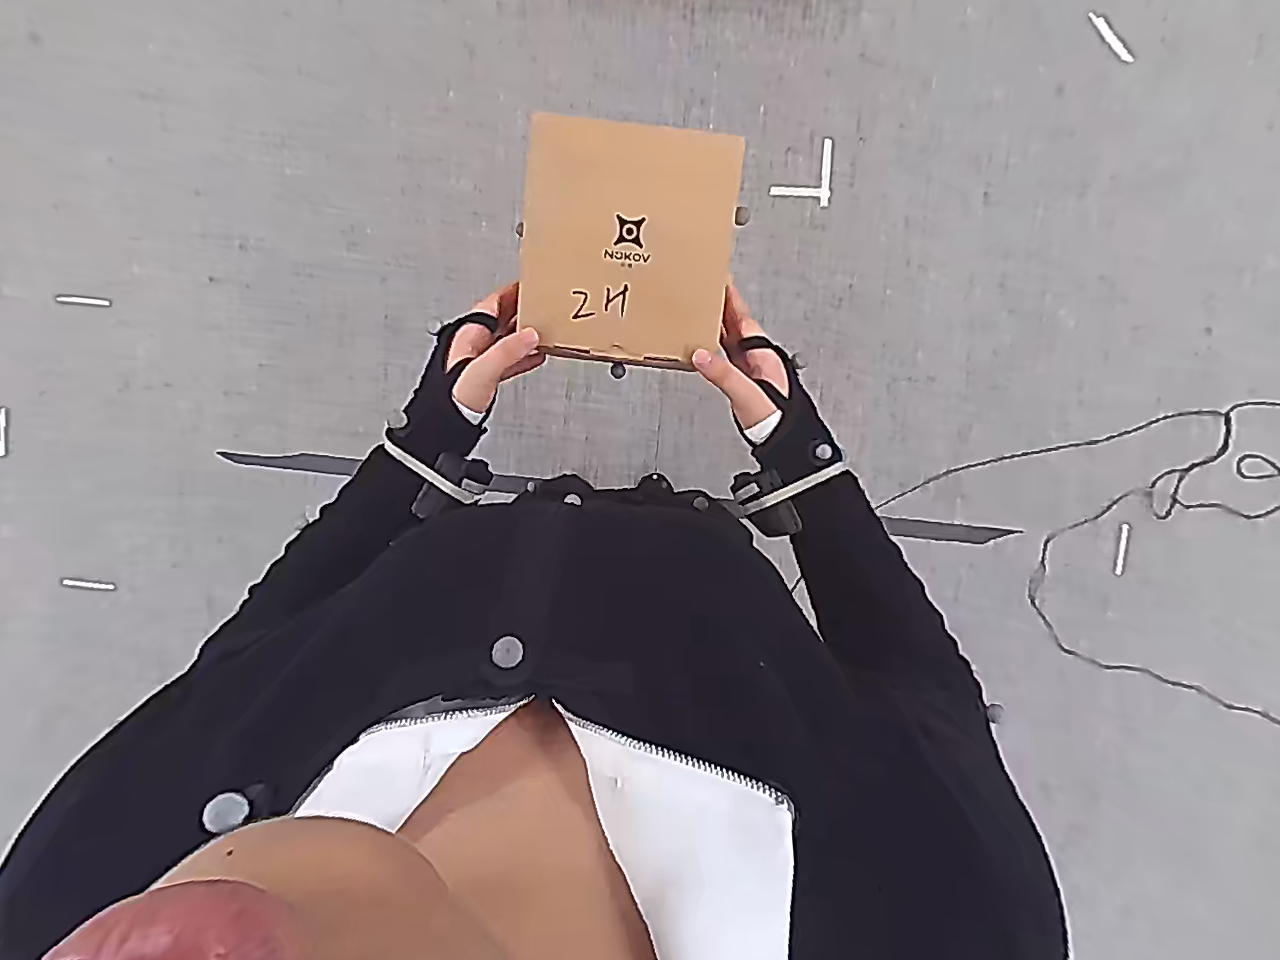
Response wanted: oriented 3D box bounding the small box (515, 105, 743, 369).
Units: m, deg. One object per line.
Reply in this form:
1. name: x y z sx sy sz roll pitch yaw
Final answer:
1. small box: -0.011 -0.204 0.504 0.168 0.176 0.179 6 99 -1
